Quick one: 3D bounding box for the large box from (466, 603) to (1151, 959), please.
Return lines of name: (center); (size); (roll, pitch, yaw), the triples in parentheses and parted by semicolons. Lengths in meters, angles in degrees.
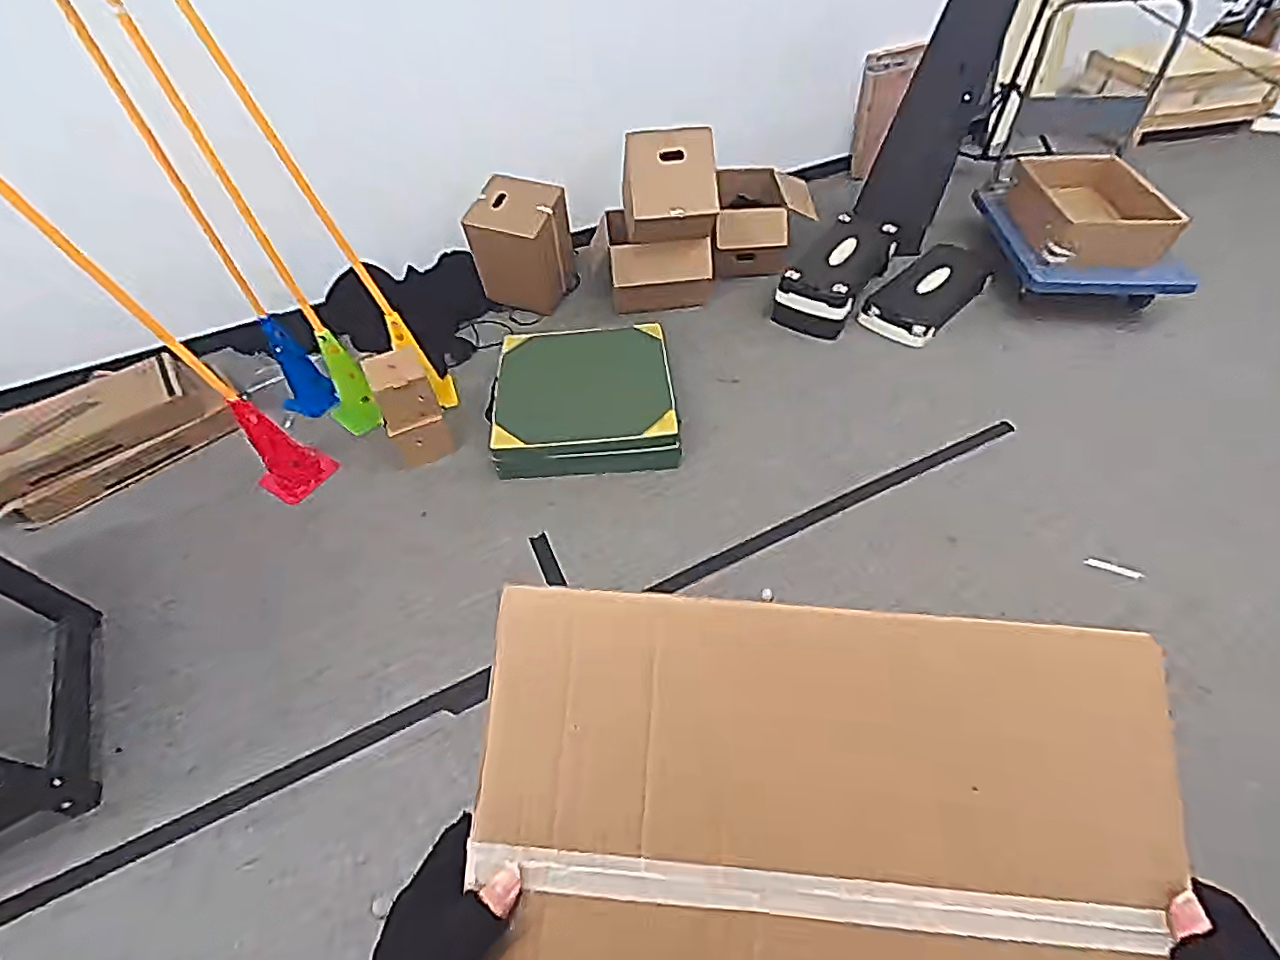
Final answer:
large box: (0.105, 0.272, 0.470); (0.408, 0.320, 0.320); (3, 76, 3)
